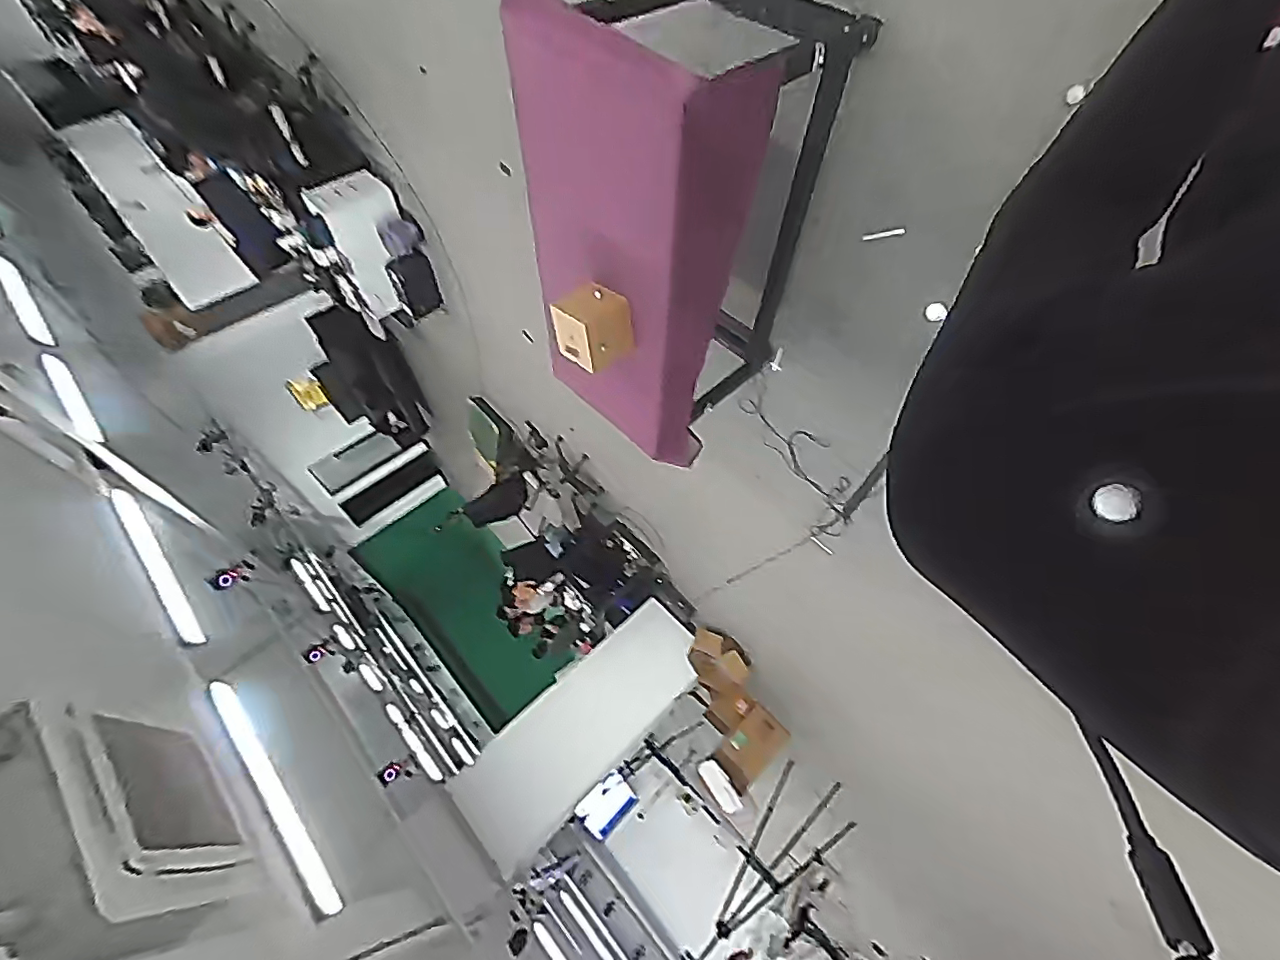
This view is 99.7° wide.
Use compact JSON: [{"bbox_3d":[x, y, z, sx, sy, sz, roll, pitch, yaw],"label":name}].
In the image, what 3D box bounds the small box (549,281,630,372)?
[{"bbox_3d":[-0.144,-0.464,1.623,0.168,0.176,0.179,37,152,31],"label":"small box"}]
